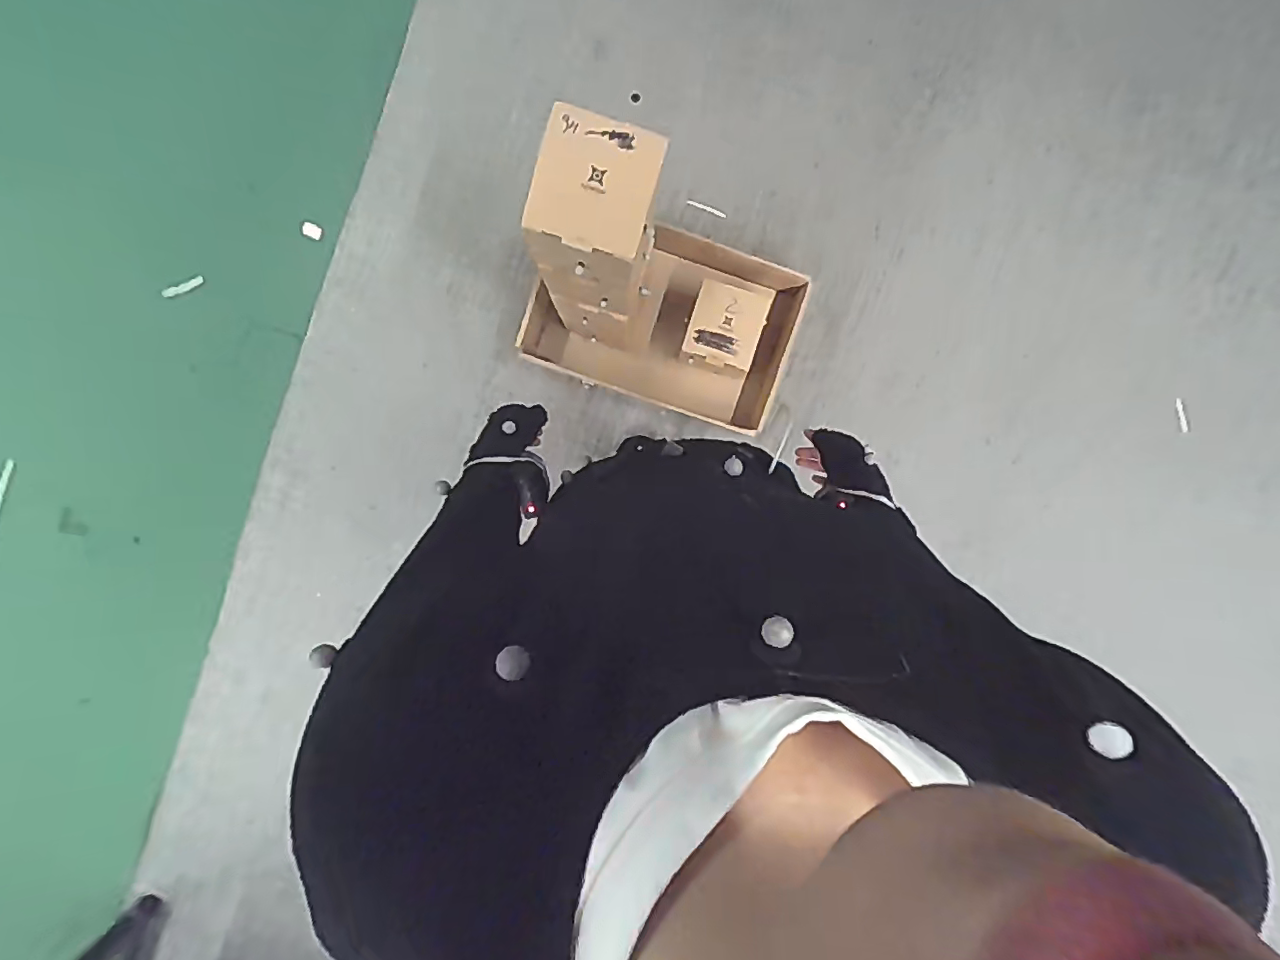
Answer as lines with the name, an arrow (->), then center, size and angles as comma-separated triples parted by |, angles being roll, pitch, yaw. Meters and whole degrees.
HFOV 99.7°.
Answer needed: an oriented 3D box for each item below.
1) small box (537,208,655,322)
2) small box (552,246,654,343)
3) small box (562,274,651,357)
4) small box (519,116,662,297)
small box -> -0.075, -0.405, 0.985 | 0.168, 0.176, 0.179 | 15, 93, -3
small box -> -0.077, -0.409, 1.149 | 0.168, 0.176, 0.179 | 17, 94, -2
small box -> -0.080, -0.417, 1.312 | 0.168, 0.176, 0.179 | 18, 93, -2
small box -> -0.070, -0.398, 0.821 | 0.168, 0.176, 0.179 | 15, 94, -3
